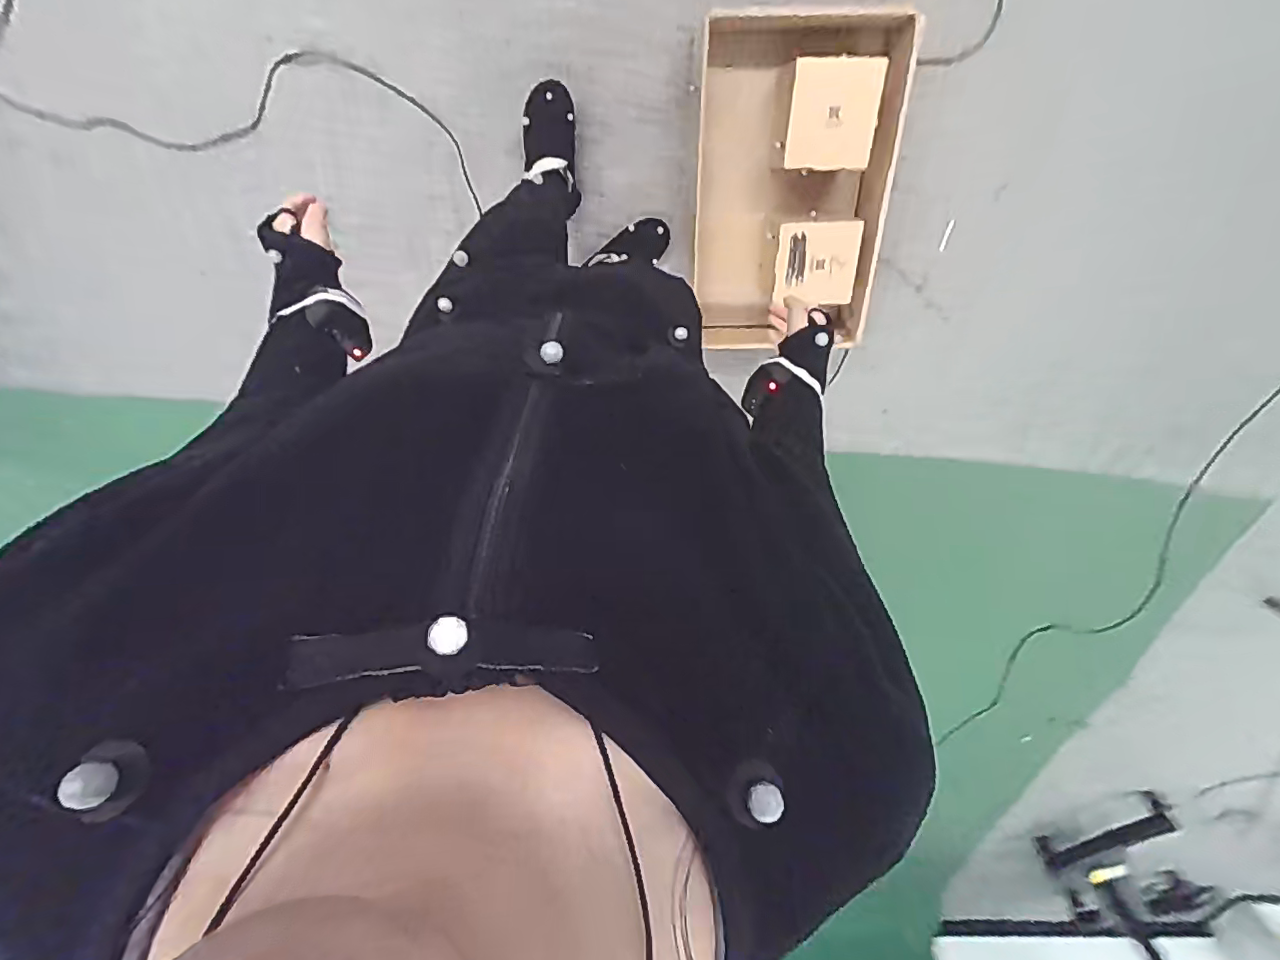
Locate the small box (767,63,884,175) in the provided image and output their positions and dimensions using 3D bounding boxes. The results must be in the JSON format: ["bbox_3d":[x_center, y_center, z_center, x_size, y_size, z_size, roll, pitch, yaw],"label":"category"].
[{"bbox_3d":[0.360,-0.717,1.087,0.168,0.176,0.179,1,122,0],"label":"small box"}]
